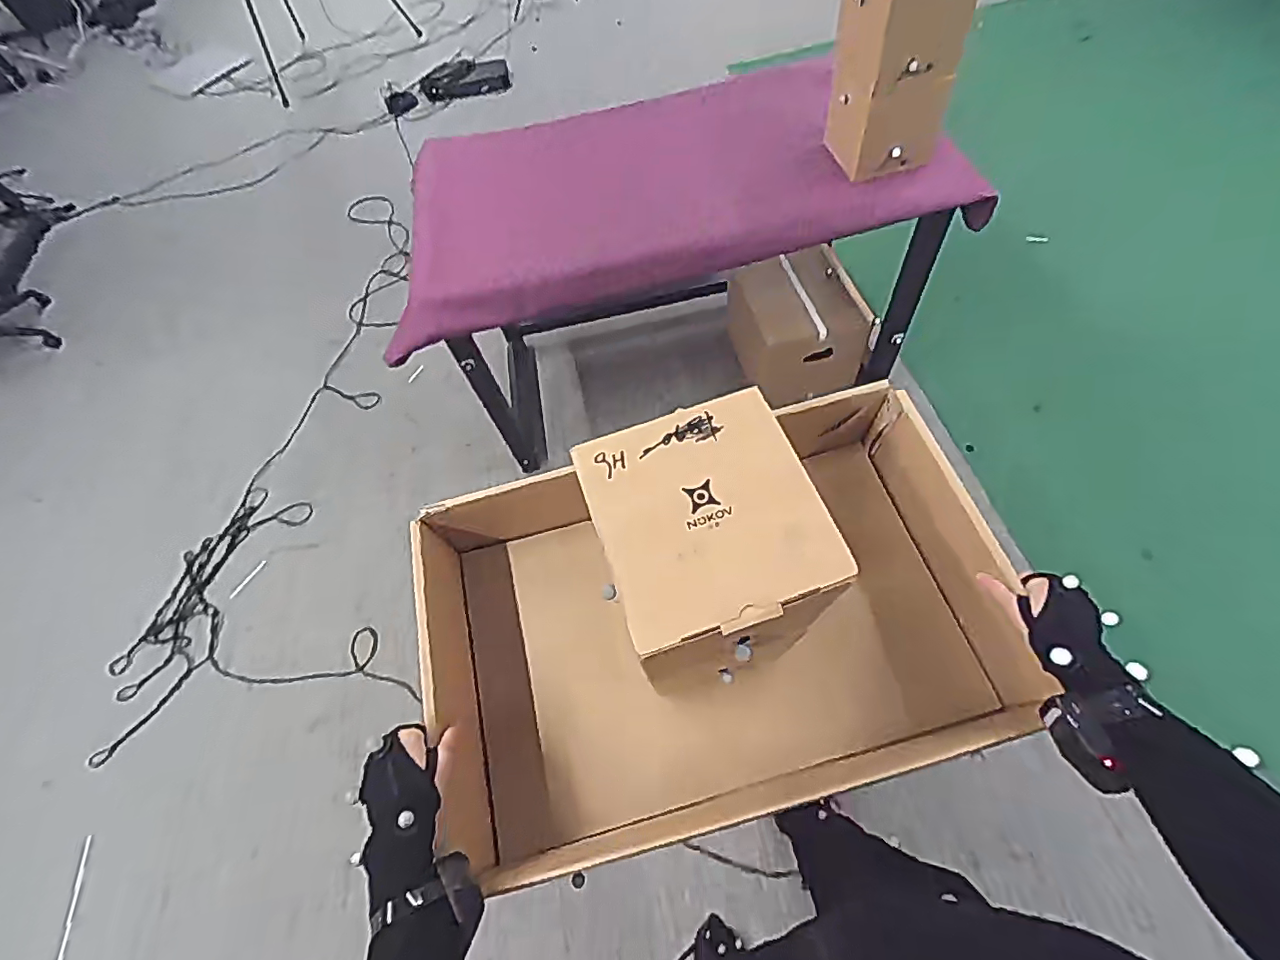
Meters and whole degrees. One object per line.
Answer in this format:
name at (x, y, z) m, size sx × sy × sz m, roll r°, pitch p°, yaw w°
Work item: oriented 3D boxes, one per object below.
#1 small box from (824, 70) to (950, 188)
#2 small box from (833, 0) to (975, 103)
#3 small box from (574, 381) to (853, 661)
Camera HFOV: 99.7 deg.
small box at (0.500, -0.748, 1.127) m, size 0.168 × 0.176 × 0.179 m, roll -14°, pitch 58°, yaw 1°
small box at (0.472, -0.831, 0.990) m, size 0.168 × 0.176 × 0.179 m, roll -16°, pitch 58°, yaw 1°
small box at (0.055, 0.049, 0.479) m, size 0.168 × 0.176 × 0.179 m, roll -18°, pitch 64°, yaw -5°
